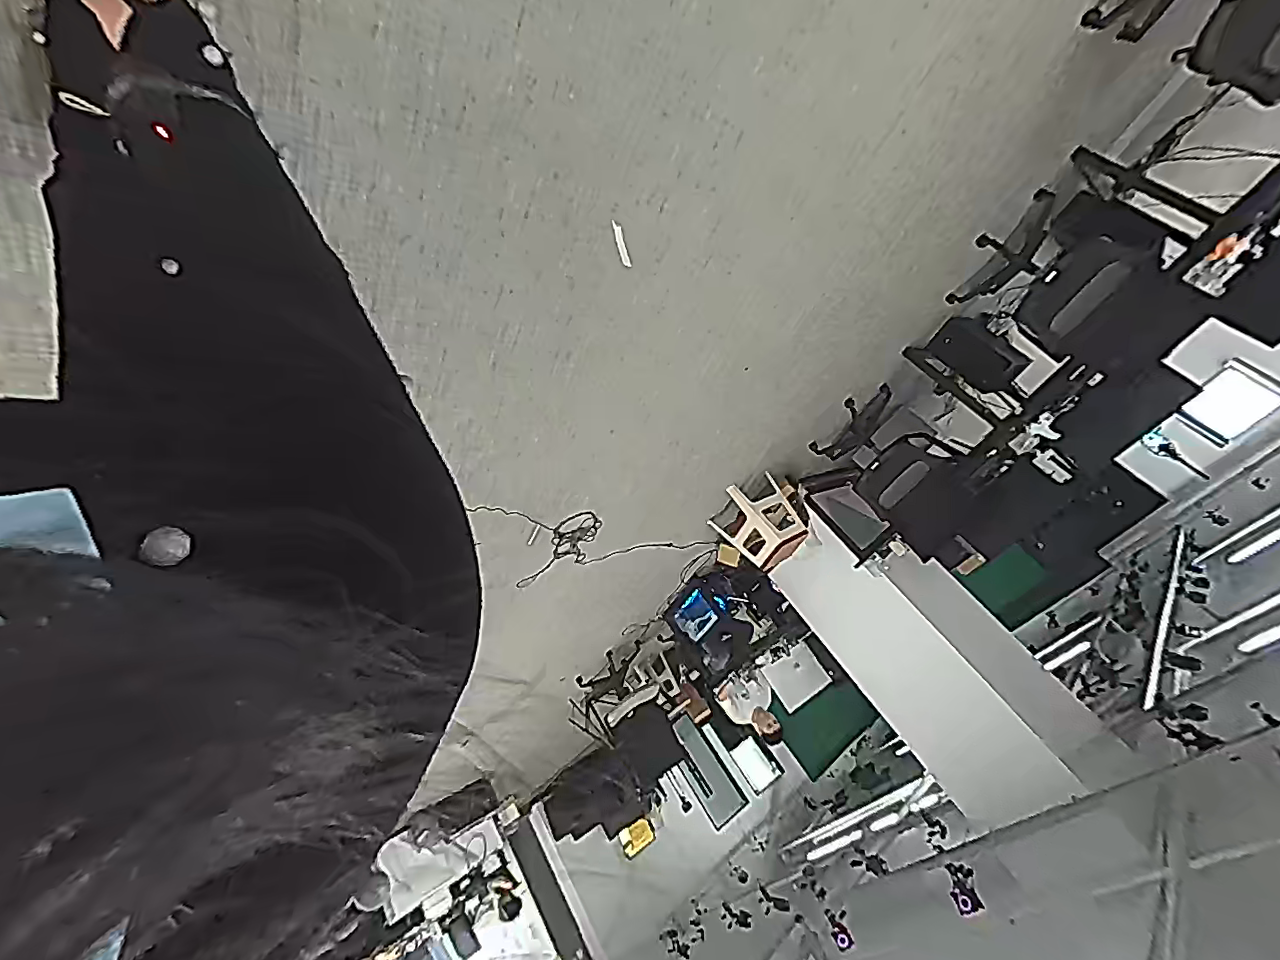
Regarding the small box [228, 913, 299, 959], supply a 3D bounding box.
[{"bbox_3d":[-1.192,1.525,1.718,0.168,0.176,0.179,-11,143,-41],"label":"small box"}]
